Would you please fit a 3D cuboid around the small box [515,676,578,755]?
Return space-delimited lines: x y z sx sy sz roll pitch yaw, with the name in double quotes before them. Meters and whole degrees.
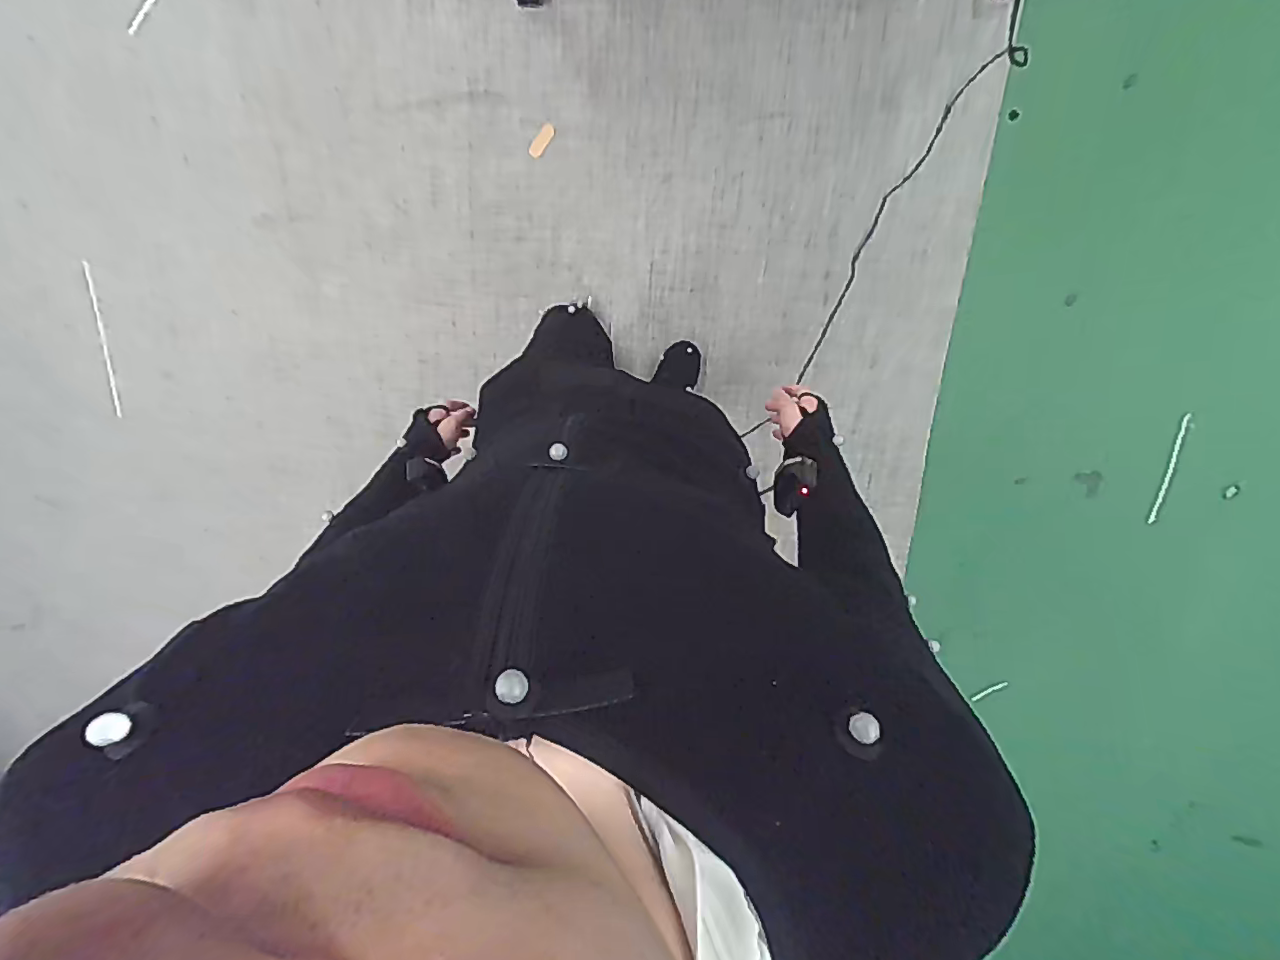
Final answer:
"small box" -0.304 0.769 1.783 0.179 0.176 0.168 6 105 3

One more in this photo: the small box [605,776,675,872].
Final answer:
"small box" 0.004 1.048 1.659 0.179 0.176 0.168 12 106 1
